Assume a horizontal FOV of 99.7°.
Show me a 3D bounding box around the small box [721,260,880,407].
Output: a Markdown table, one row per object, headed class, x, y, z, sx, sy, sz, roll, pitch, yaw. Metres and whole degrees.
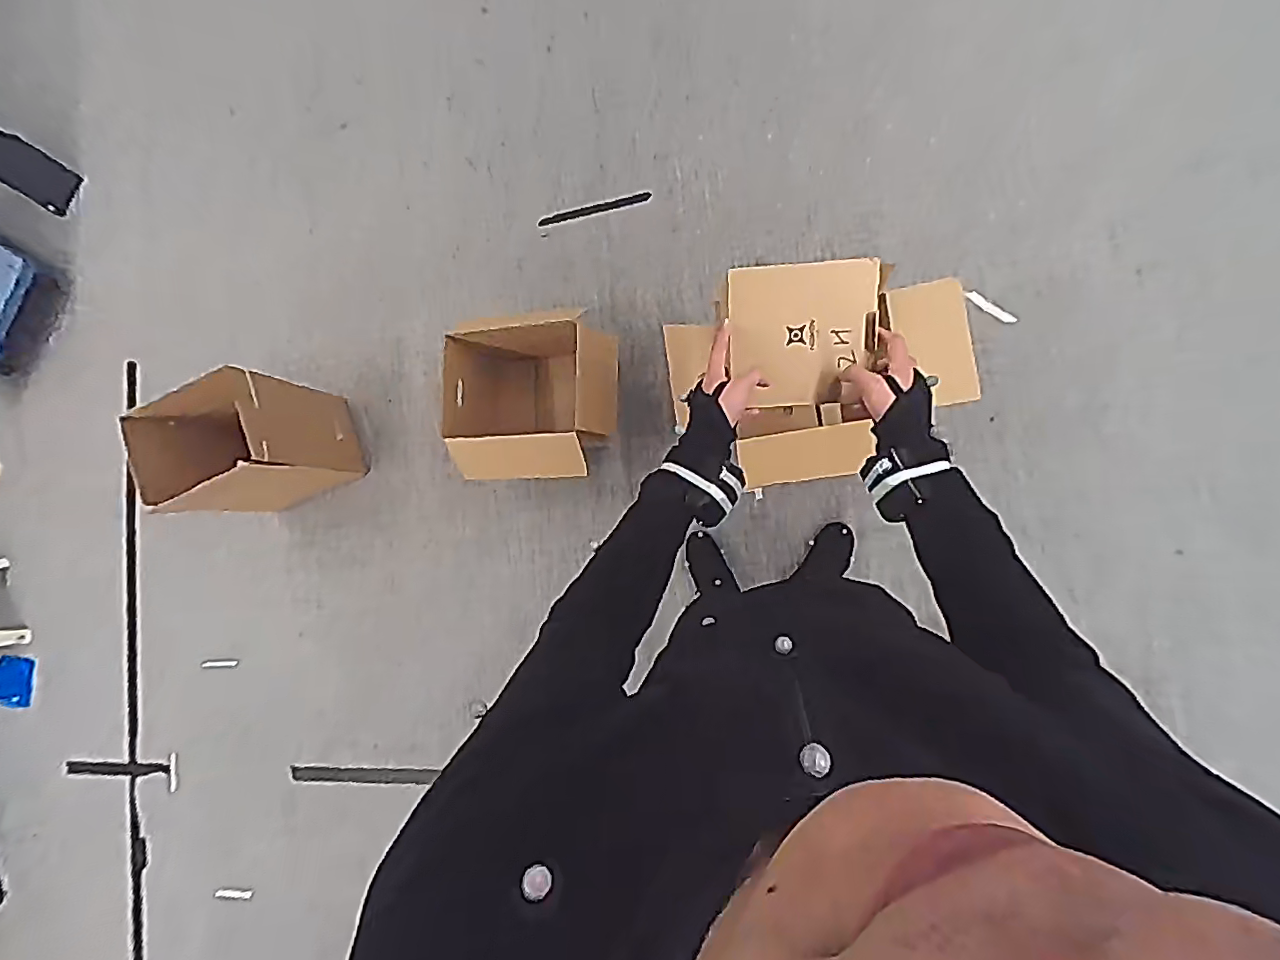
| class | x | y | z | sx | sy | sz | roll | pitch | yaw |
| --- | --- | --- | --- | --- | --- | --- | --- | --- | --- |
| small box | 0.198 | -0.185 | 0.716 | 0.179 | 0.176 | 0.168 | -2 | 102 | 5 |
